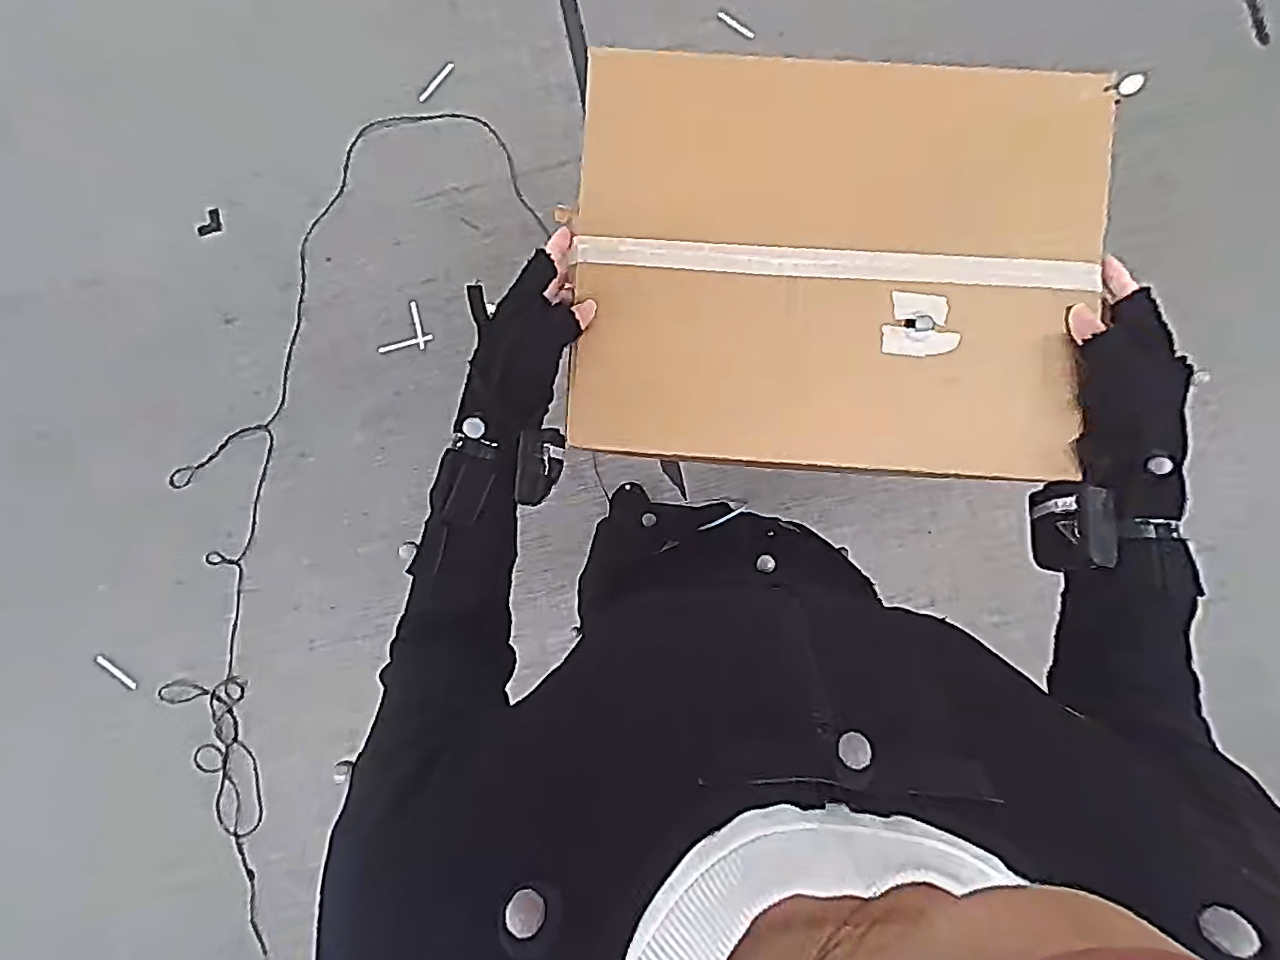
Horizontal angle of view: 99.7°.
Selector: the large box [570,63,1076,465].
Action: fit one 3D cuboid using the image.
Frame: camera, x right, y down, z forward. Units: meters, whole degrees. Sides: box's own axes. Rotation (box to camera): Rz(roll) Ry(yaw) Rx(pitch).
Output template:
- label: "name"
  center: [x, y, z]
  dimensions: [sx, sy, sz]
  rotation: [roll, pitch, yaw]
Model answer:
- label: "large box"
  center: [0.145, -0.178, 0.584]
  dimensions: [0.408, 0.320, 0.320]
  rotation: [3, 92, 0]
